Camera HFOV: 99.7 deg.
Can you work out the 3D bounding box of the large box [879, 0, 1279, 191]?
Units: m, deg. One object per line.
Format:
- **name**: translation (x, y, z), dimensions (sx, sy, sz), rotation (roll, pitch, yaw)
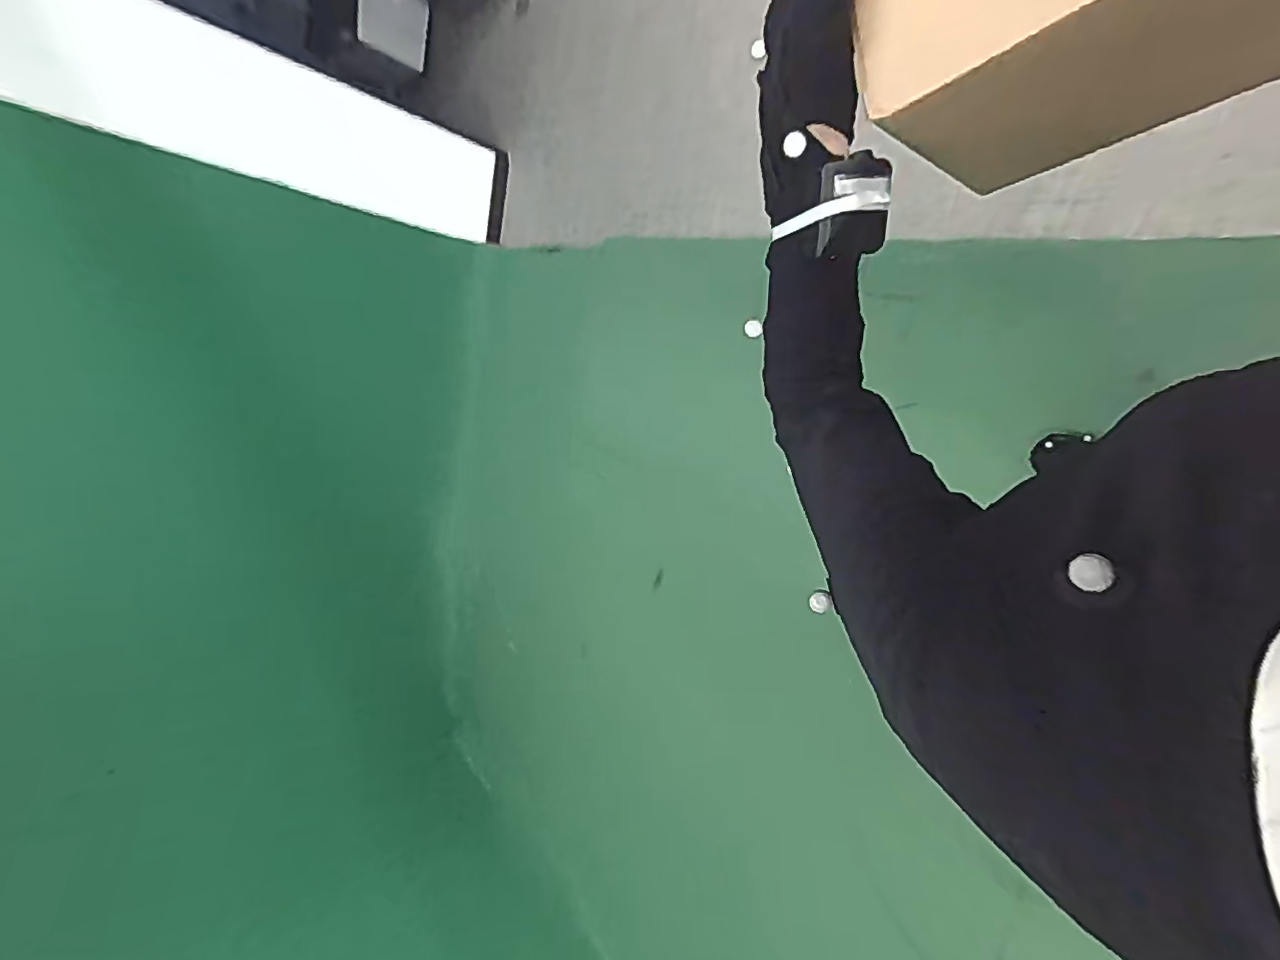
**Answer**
- **large box**: translation (0.395, -0.456, 0.344), dimensions (0.408, 0.320, 0.320), rotation (-7, 96, 46)
